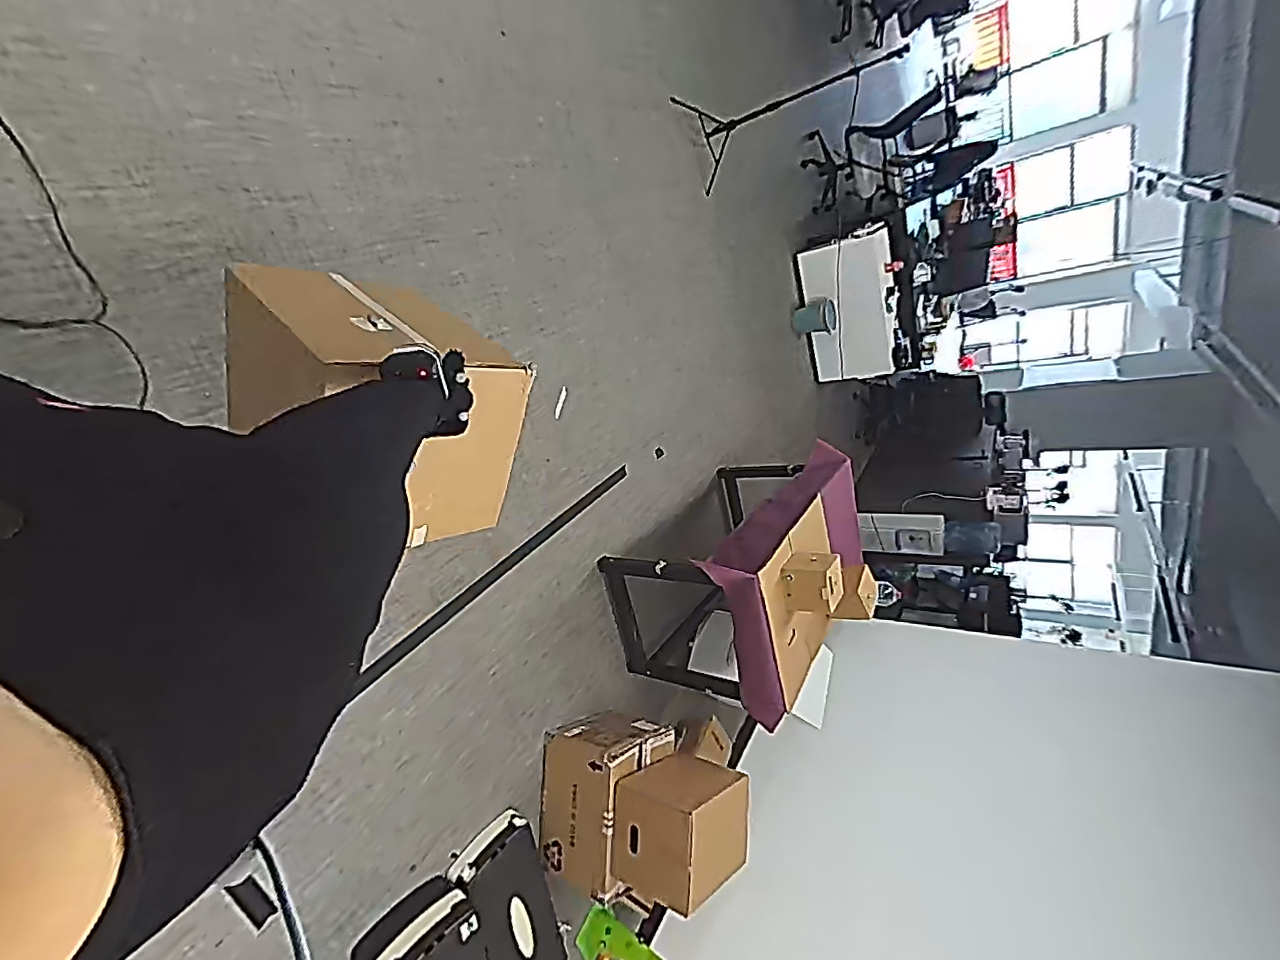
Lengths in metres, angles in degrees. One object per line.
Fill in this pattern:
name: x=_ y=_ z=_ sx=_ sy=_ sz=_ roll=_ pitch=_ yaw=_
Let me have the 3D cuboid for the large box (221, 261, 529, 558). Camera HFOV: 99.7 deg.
large box: x=-0.466 y=-0.131 z=0.925 sx=0.320 sy=0.408 sz=0.320 roll=-13 pitch=132 yaw=-50
